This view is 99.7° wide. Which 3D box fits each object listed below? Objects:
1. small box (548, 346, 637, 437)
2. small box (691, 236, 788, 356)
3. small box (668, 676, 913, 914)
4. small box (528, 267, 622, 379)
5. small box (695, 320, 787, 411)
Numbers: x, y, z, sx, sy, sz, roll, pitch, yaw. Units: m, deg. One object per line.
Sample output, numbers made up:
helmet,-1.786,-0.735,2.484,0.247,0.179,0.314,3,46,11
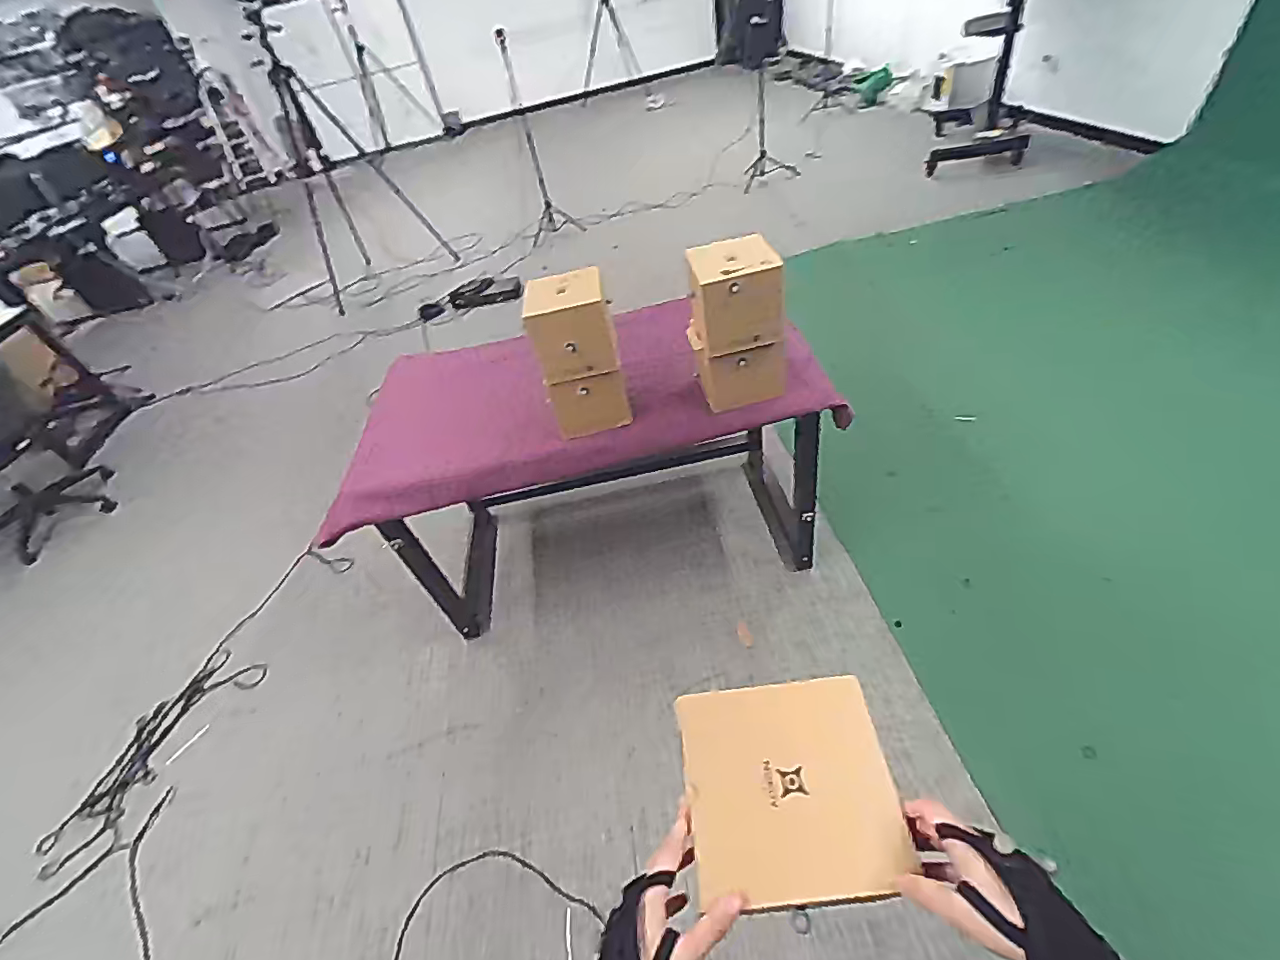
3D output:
small box,-0.113,-0.225,1.310,0.179,0.176,0.168,-12,43,2
small box,0.209,-0.389,1.149,0.168,0.176,0.179,-13,43,3
small box,0.127,0.310,0.528,0.179,0.176,0.168,-9,50,2
small box,-0.136,-0.339,1.194,0.168,0.176,0.179,-10,43,4
small box,0.240,-0.286,1.275,0.179,0.176,0.168,-14,44,1
